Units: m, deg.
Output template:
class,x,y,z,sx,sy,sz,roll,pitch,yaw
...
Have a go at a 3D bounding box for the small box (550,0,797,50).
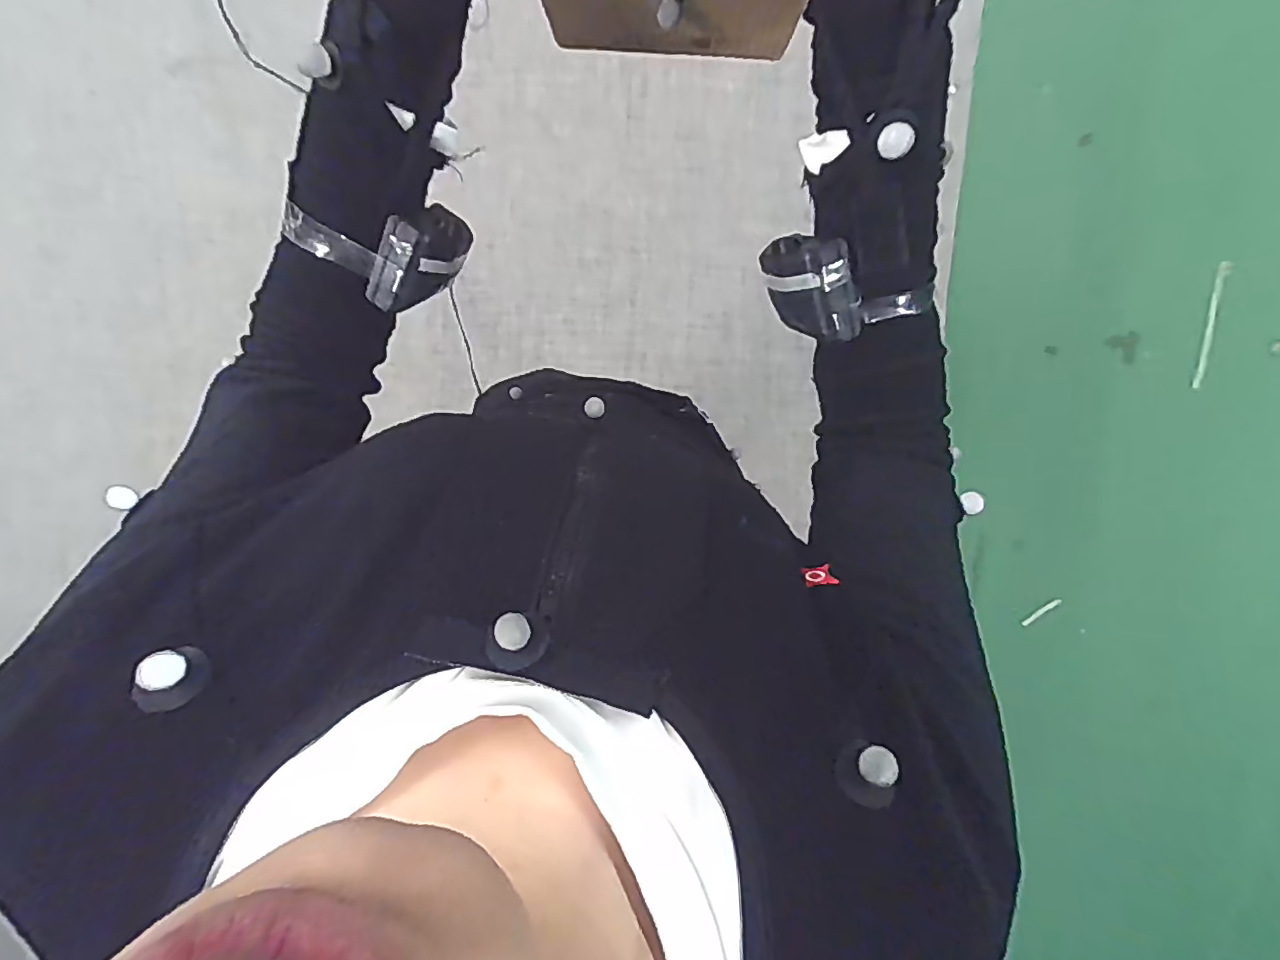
class,x,y,z,sx,sy,sz,roll,pitch,yaw
small box,0.022,-0.372,0.294,0.168,0.176,0.179,4,107,2
